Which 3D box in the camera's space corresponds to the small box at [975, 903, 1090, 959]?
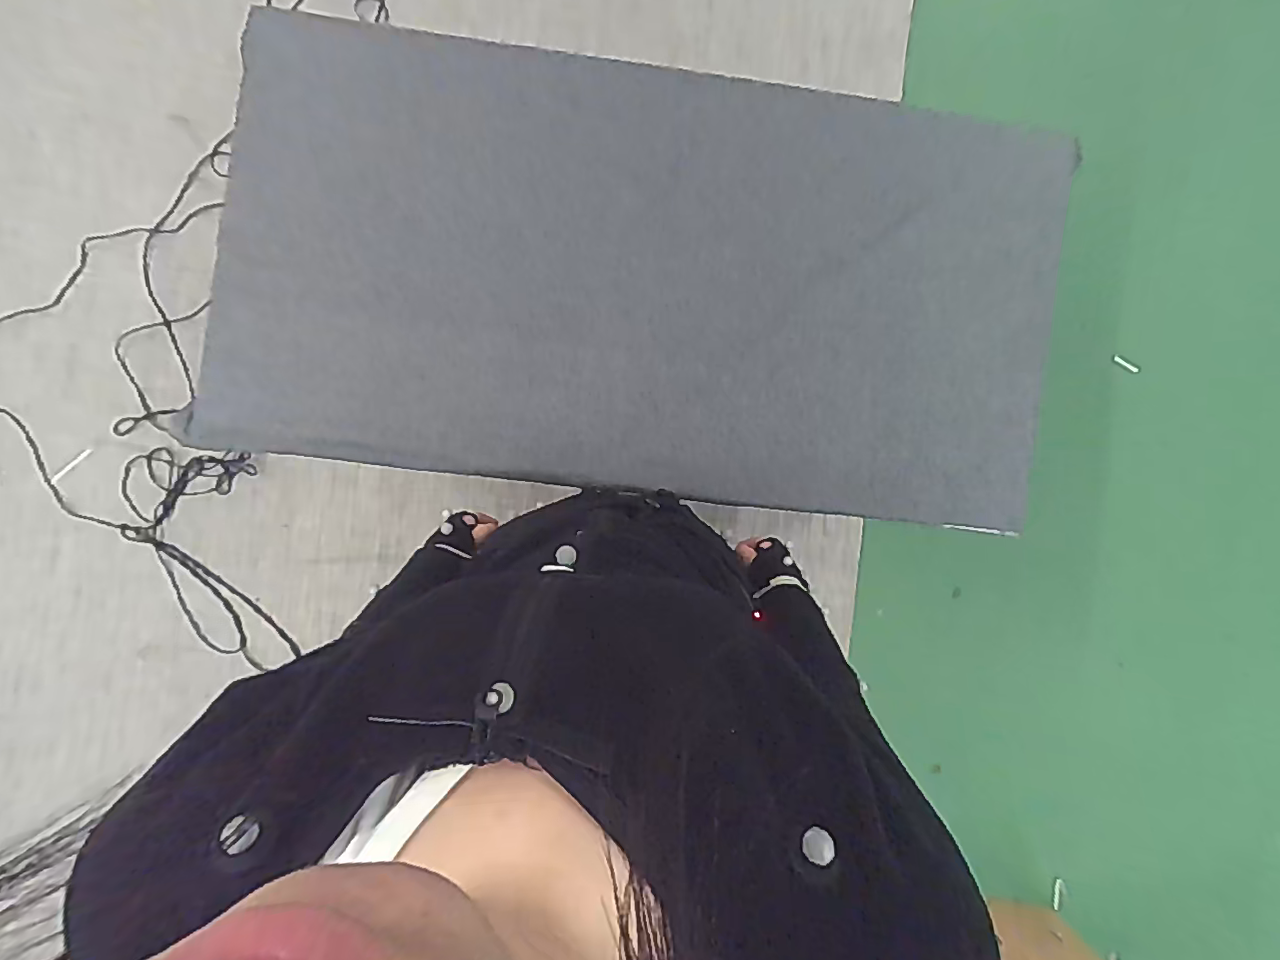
[{"bbox_3d":[1.032,1.268,1.432,0.179,0.176,0.168,7,88,-2],"label":"small box"}]
